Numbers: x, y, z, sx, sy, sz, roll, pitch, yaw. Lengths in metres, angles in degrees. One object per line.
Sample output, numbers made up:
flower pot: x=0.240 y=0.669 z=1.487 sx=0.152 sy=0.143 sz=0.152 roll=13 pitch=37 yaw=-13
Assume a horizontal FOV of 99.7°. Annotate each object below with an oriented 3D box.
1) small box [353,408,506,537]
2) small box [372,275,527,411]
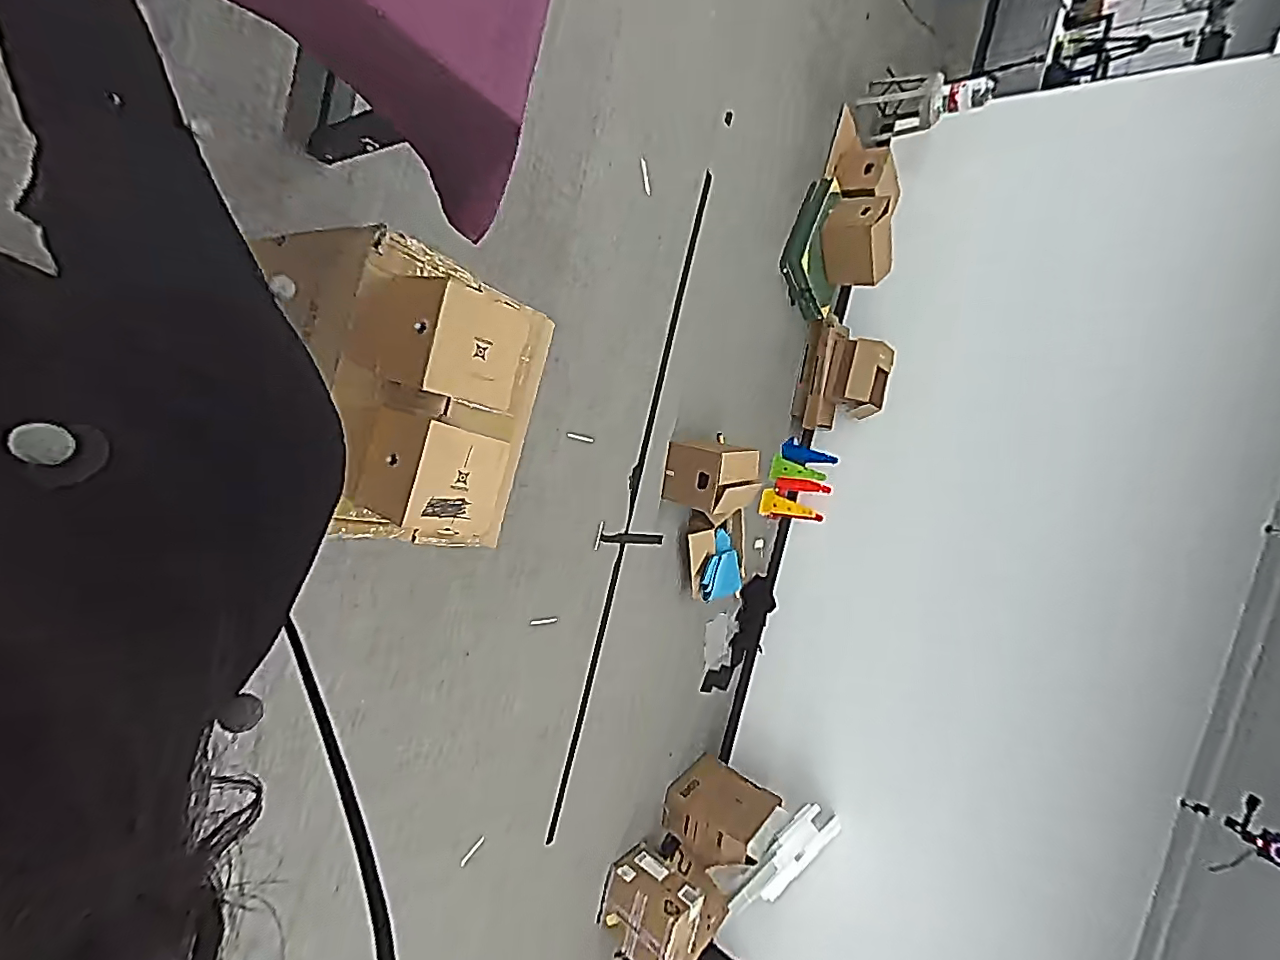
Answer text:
small box: x=-0.367 y=-0.013 z=0.936 sx=0.168 sy=0.176 sz=0.179 roll=18 pitch=87 yaw=-53
small box: x=-0.324 y=-0.231 z=0.915 sx=0.168 sy=0.176 sz=0.179 roll=12 pitch=95 yaw=-52
